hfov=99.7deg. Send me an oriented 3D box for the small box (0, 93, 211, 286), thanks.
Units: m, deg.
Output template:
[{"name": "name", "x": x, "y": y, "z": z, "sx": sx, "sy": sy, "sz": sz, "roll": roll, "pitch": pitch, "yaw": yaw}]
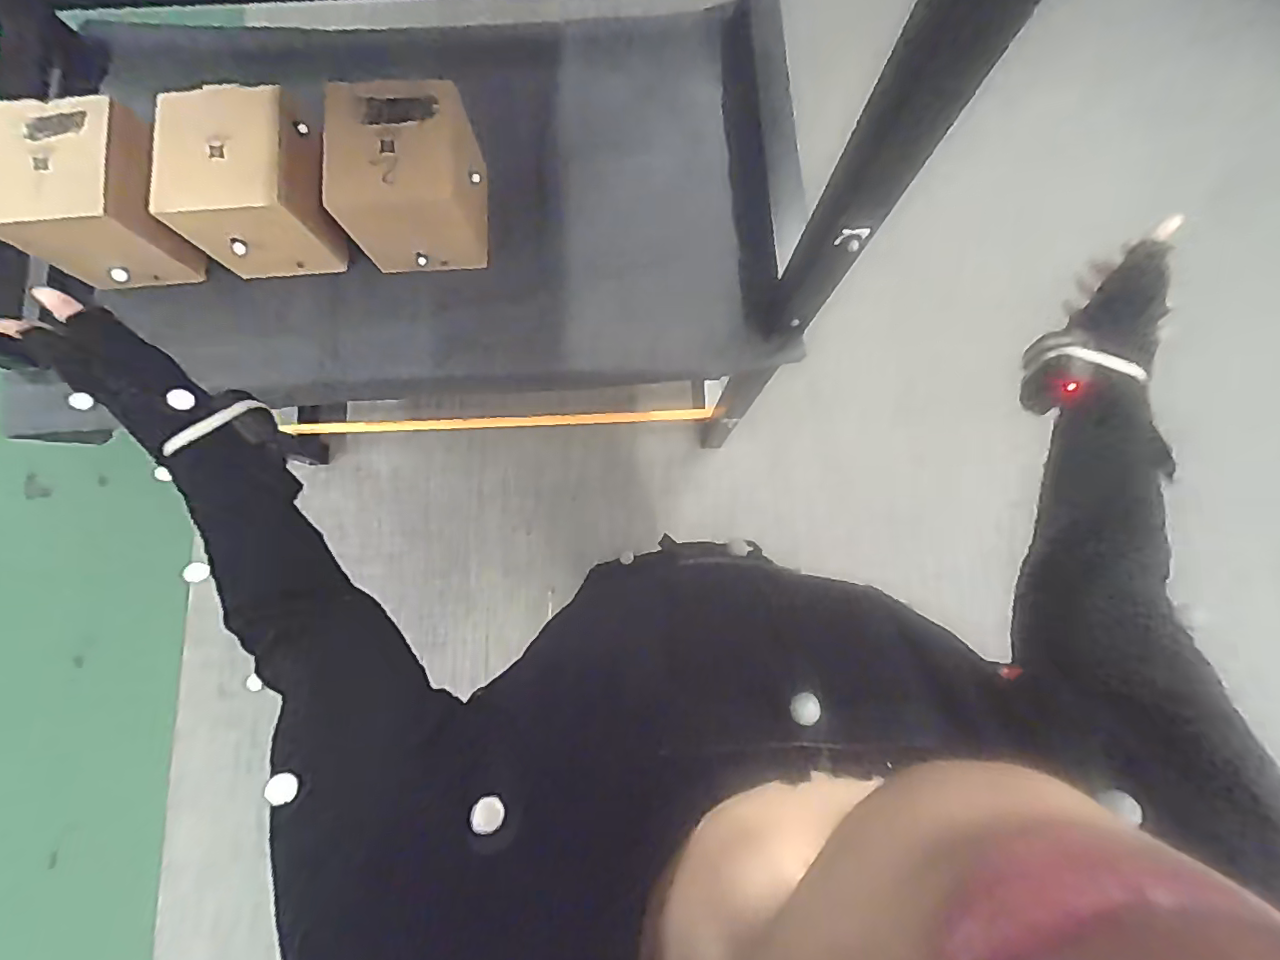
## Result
[{"name": "small box", "x": -0.758, "y": -0.403, "z": 0.772, "sx": 0.168, "sy": 0.176, "sz": 0.179, "roll": -5, "pitch": 82, "yaw": 0}]
